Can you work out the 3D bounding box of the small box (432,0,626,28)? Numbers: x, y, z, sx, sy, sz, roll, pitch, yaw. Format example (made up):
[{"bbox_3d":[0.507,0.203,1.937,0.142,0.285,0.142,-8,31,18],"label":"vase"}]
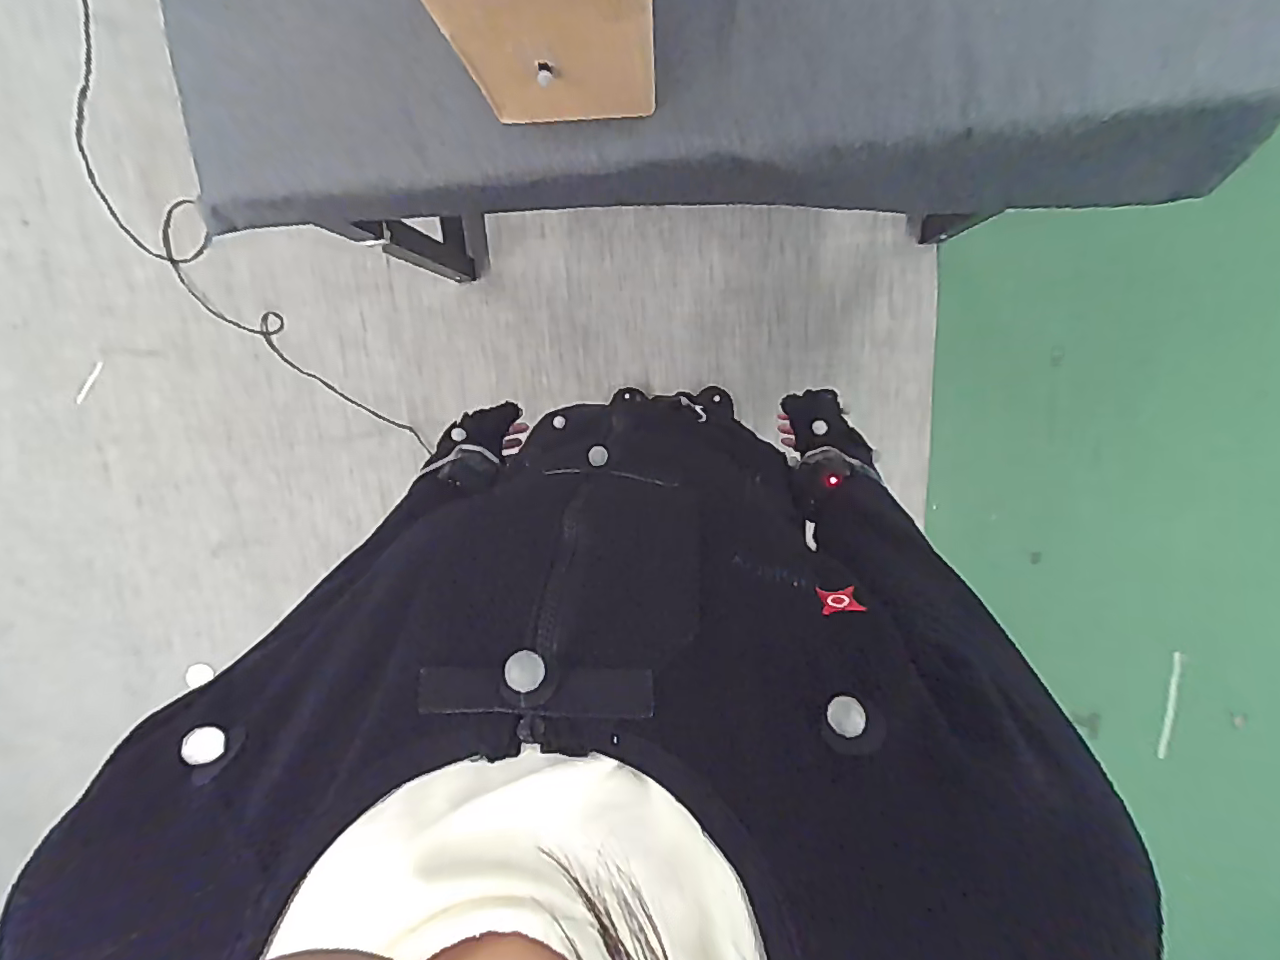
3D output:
[{"bbox_3d":[-0.086,-0.450,0.362,0.179,0.176,0.168,-1,98,5],"label":"small box"}]

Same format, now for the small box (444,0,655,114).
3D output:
[{"bbox_3d":[-0.077,-0.481,0.521,0.179,0.176,0.168,-1,100,4],"label":"small box"}]
